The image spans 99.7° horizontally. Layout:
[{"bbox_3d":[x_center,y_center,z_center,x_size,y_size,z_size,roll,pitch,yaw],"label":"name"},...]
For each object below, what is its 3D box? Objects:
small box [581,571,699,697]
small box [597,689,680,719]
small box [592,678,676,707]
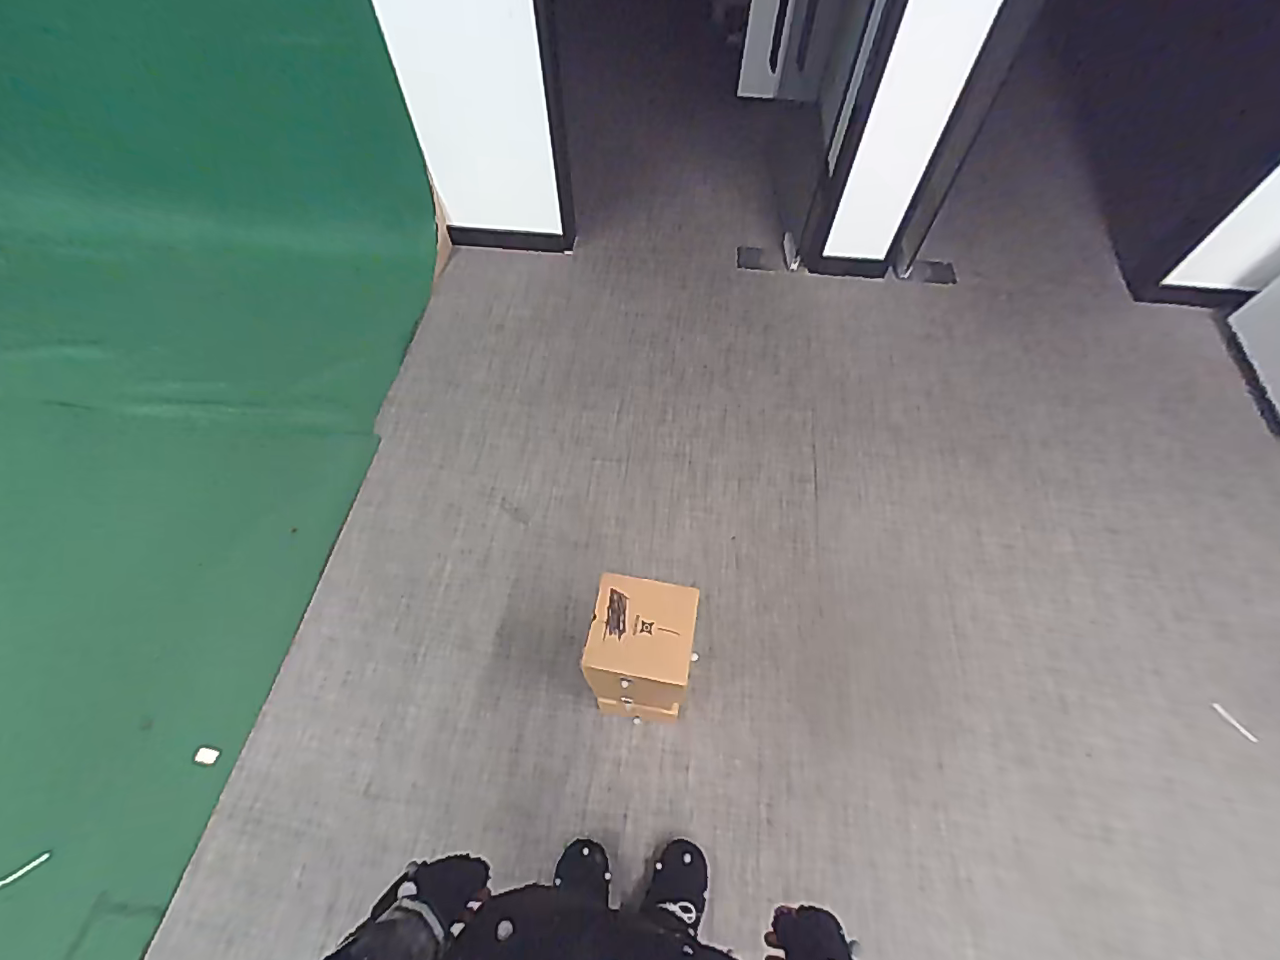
[{"bbox_3d":[0.004,0.284,0.980,0.179,0.176,0.168,9,60,6],"label":"small box"},{"bbox_3d":[0.006,0.452,1.260,0.179,0.176,0.168,9,60,4],"label":"small box"},{"bbox_3d":[0.002,0.359,1.127,0.168,0.176,0.179,7,61,6],"label":"small box"}]
